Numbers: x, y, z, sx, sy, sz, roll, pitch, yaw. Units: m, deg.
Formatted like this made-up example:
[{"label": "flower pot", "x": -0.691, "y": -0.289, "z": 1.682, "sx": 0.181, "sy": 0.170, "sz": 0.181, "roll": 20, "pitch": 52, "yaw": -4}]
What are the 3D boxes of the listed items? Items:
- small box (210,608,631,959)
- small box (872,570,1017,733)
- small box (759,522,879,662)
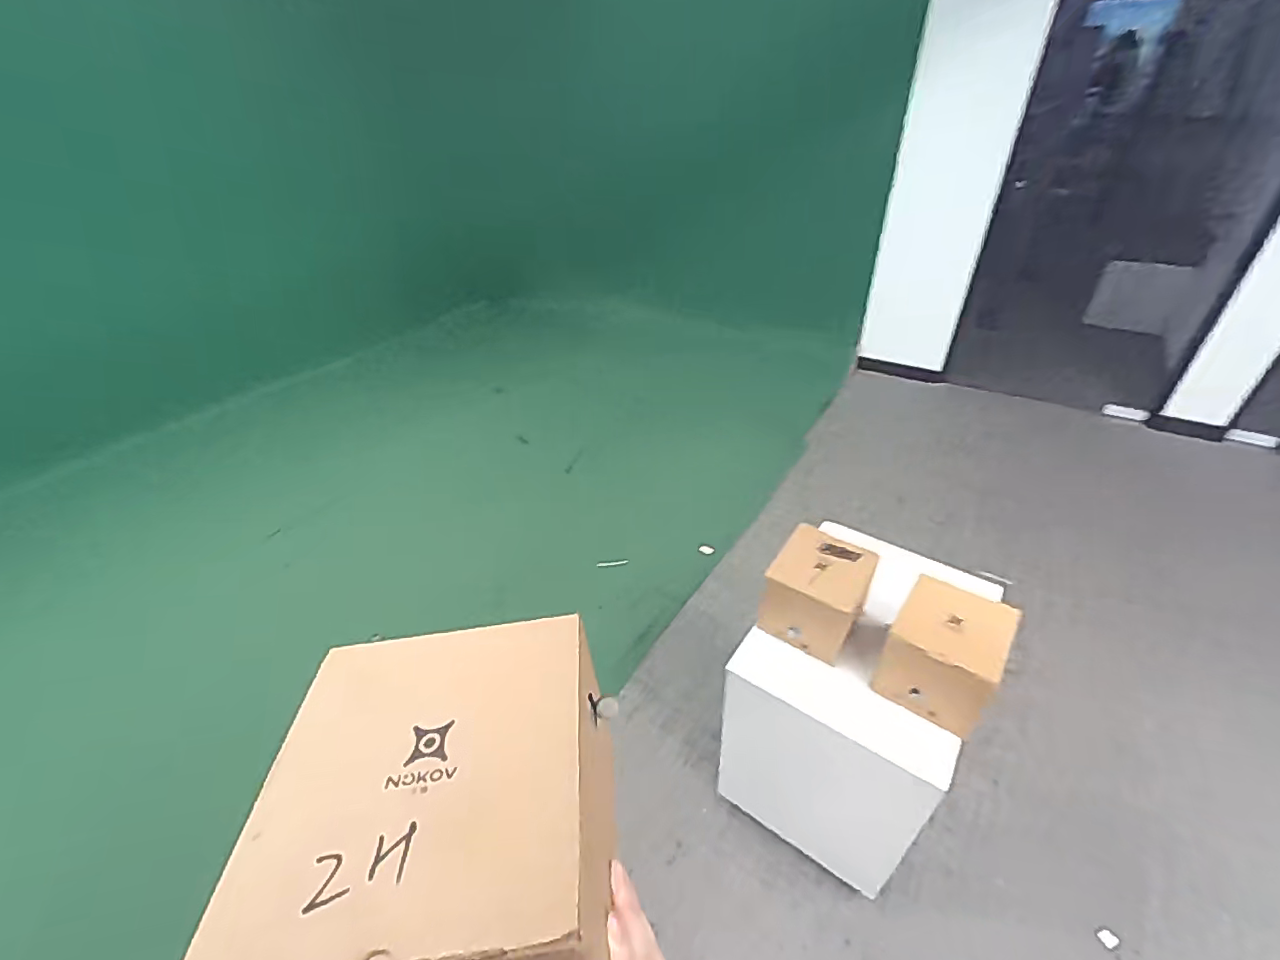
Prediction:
[{"label": "small box", "x": -0.098, "y": 0.209, "z": 0.338, "sx": 0.168, "sy": 0.176, "sz": 0.179, "roll": -8, "pitch": 35, "yaw": 0}, {"label": "small box", "x": 0.531, "y": 0.301, "z": 0.958, "sx": 0.168, "sy": 0.176, "sz": 0.179, "roll": 23, "pitch": 46, "yaw": 31}, {"label": "small box", "x": 0.349, "y": 0.220, "z": 1.075, "sx": 0.168, "sy": 0.176, "sz": 0.179, "roll": 23, "pitch": 46, "yaw": 29}]
